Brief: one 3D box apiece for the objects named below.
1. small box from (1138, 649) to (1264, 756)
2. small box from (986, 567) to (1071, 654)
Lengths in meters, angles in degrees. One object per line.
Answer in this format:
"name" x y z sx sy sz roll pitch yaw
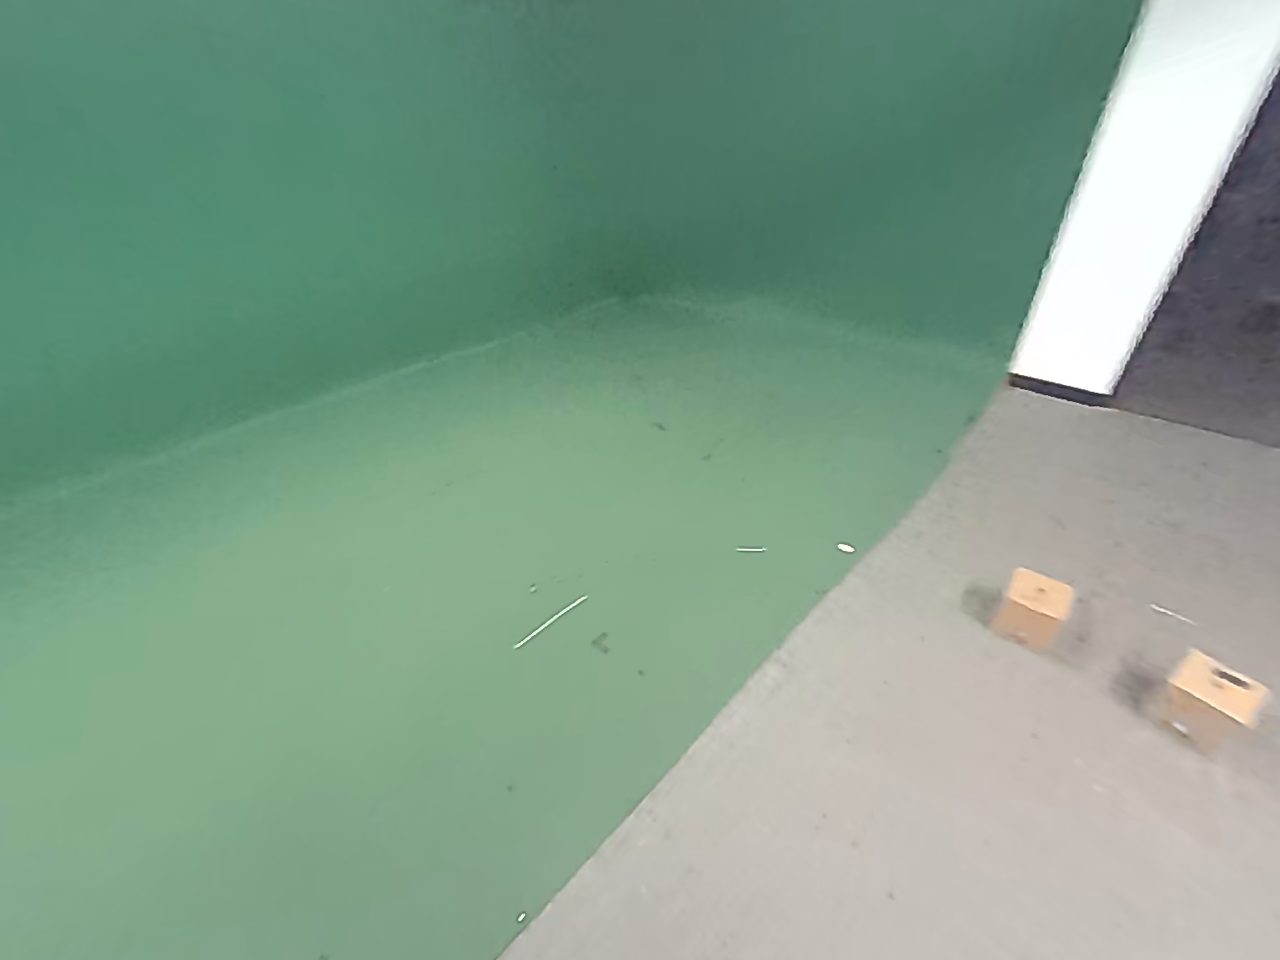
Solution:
"small box" 1.525 0.608 1.480 0.179 0.176 0.168 -25 41 -26
"small box" 1.257 0.422 1.756 0.168 0.176 0.179 25 45 33
